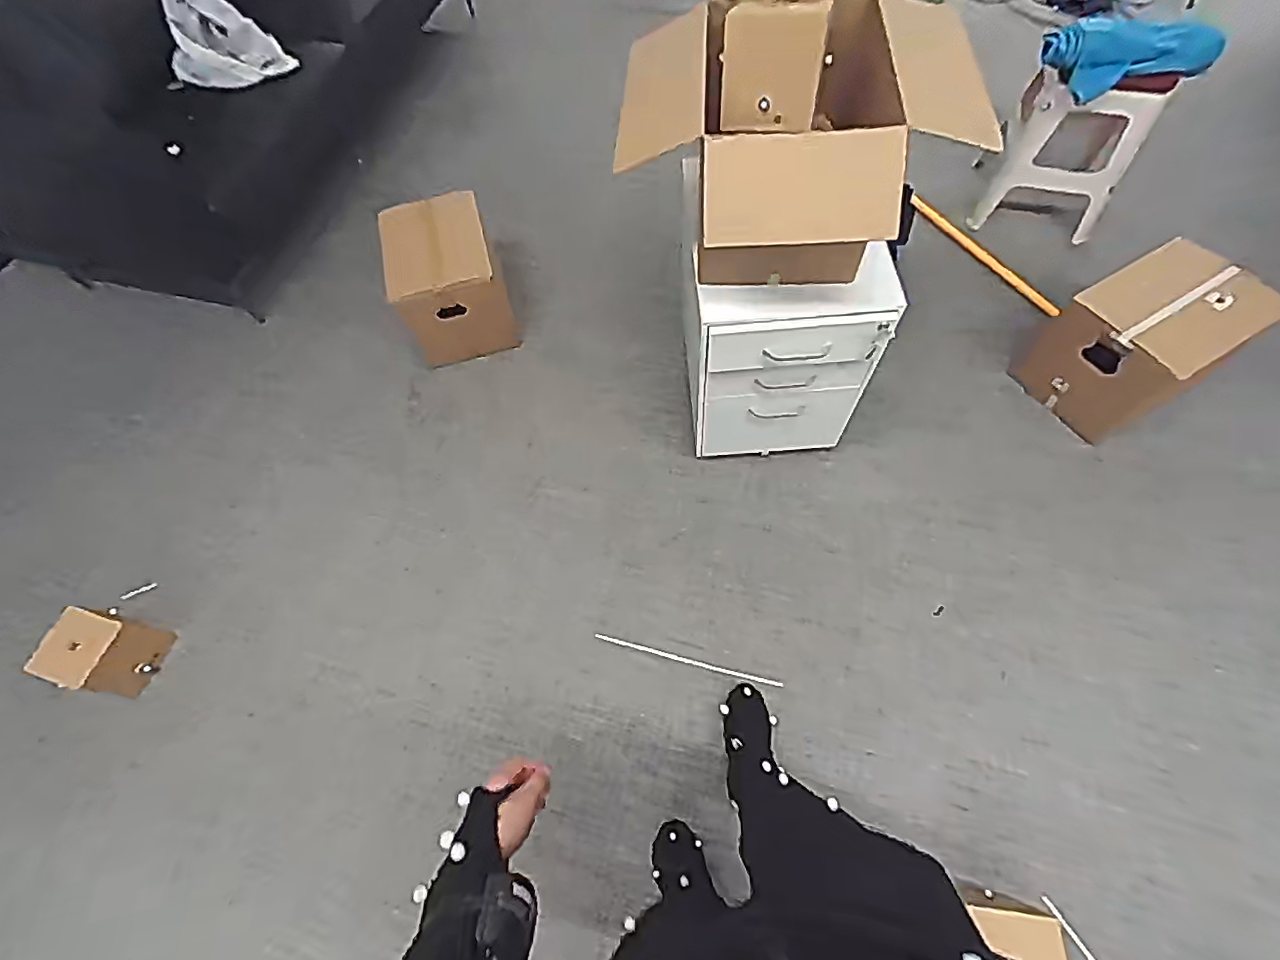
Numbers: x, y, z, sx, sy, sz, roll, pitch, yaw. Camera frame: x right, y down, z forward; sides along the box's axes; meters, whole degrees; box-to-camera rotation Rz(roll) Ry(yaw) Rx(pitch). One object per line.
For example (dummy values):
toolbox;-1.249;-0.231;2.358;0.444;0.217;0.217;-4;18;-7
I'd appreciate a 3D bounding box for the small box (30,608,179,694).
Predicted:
small box;-1.369;0.447;1.397;0.179;0.176;0.168;13;67;10

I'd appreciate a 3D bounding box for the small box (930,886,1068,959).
small box;0.657;0.882;0.999;0.168;0.176;0.179;4;65;7
